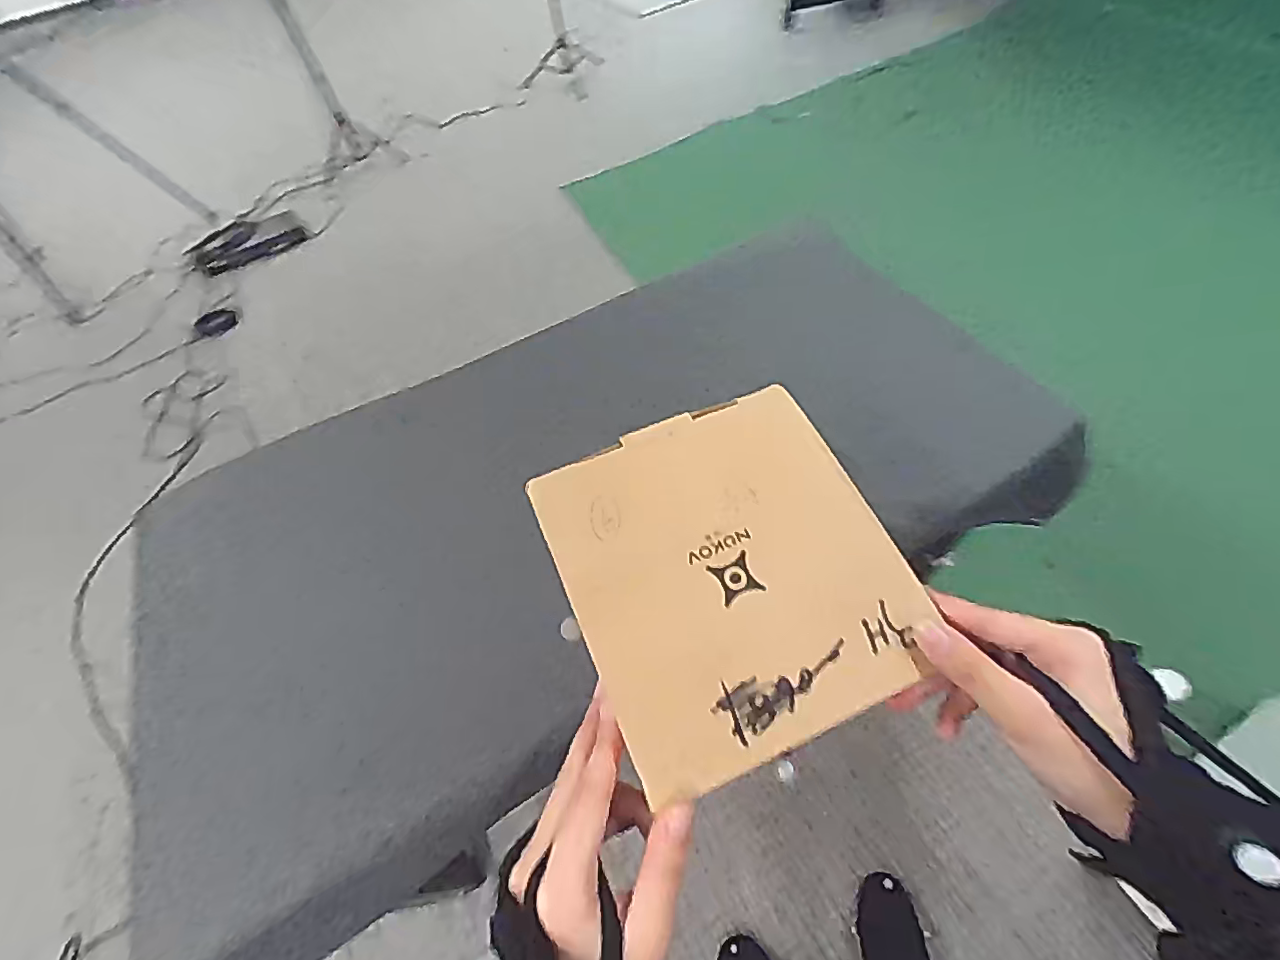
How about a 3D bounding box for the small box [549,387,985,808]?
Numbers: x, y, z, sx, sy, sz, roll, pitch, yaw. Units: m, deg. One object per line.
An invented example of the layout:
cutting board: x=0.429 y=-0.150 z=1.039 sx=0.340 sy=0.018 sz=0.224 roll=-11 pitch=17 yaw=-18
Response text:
small box: x=0.054 y=0.077 z=0.344 sx=0.168 sy=0.176 sz=0.179 roll=-21 pitch=65 yaw=-10
